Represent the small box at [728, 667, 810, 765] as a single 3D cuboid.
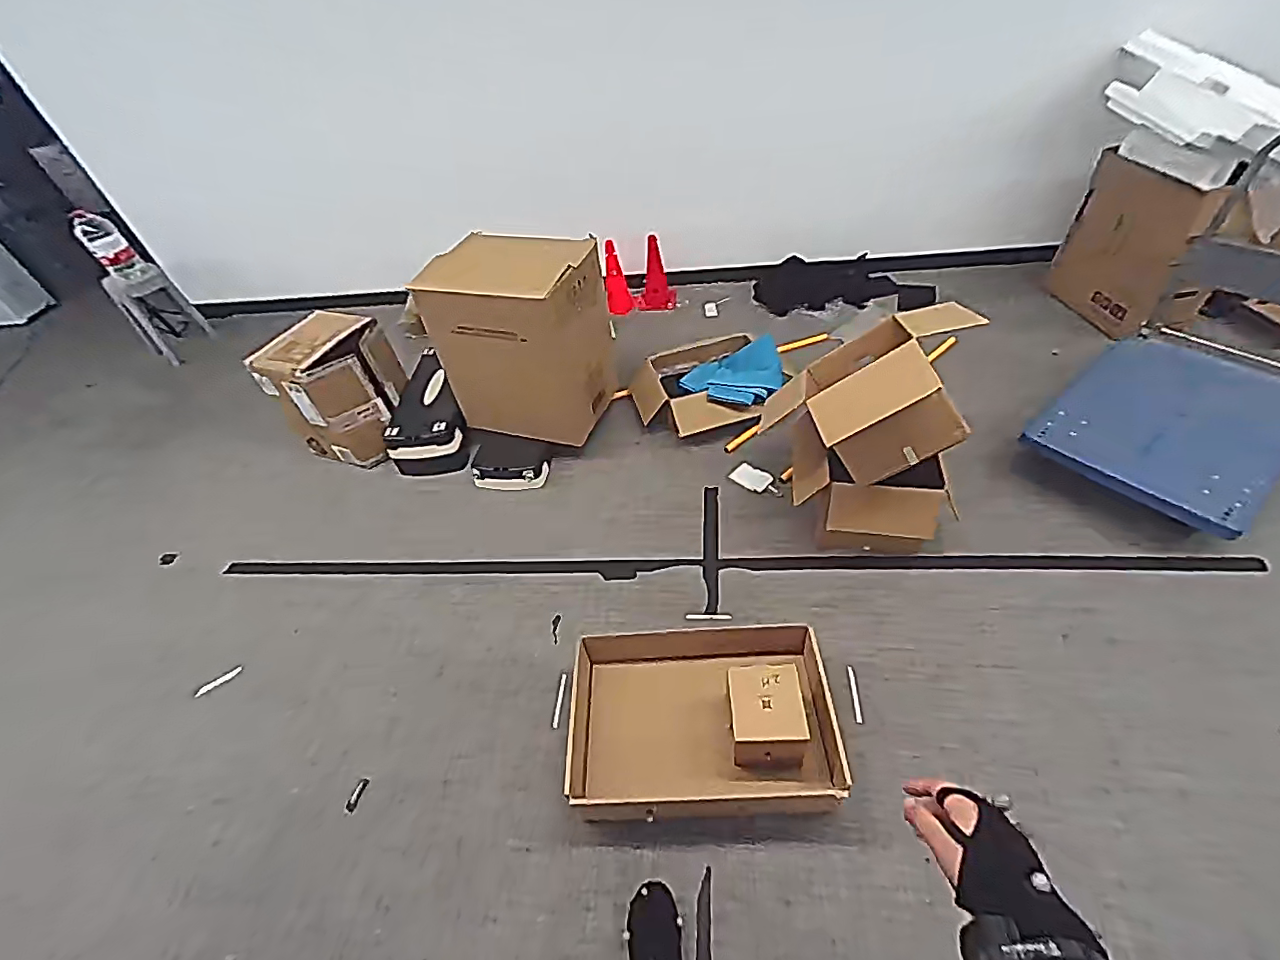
[{"bbox_3d":[0.302,0.570,1.297,0.168,0.176,0.179,-4,45,5],"label":"small box"}]
